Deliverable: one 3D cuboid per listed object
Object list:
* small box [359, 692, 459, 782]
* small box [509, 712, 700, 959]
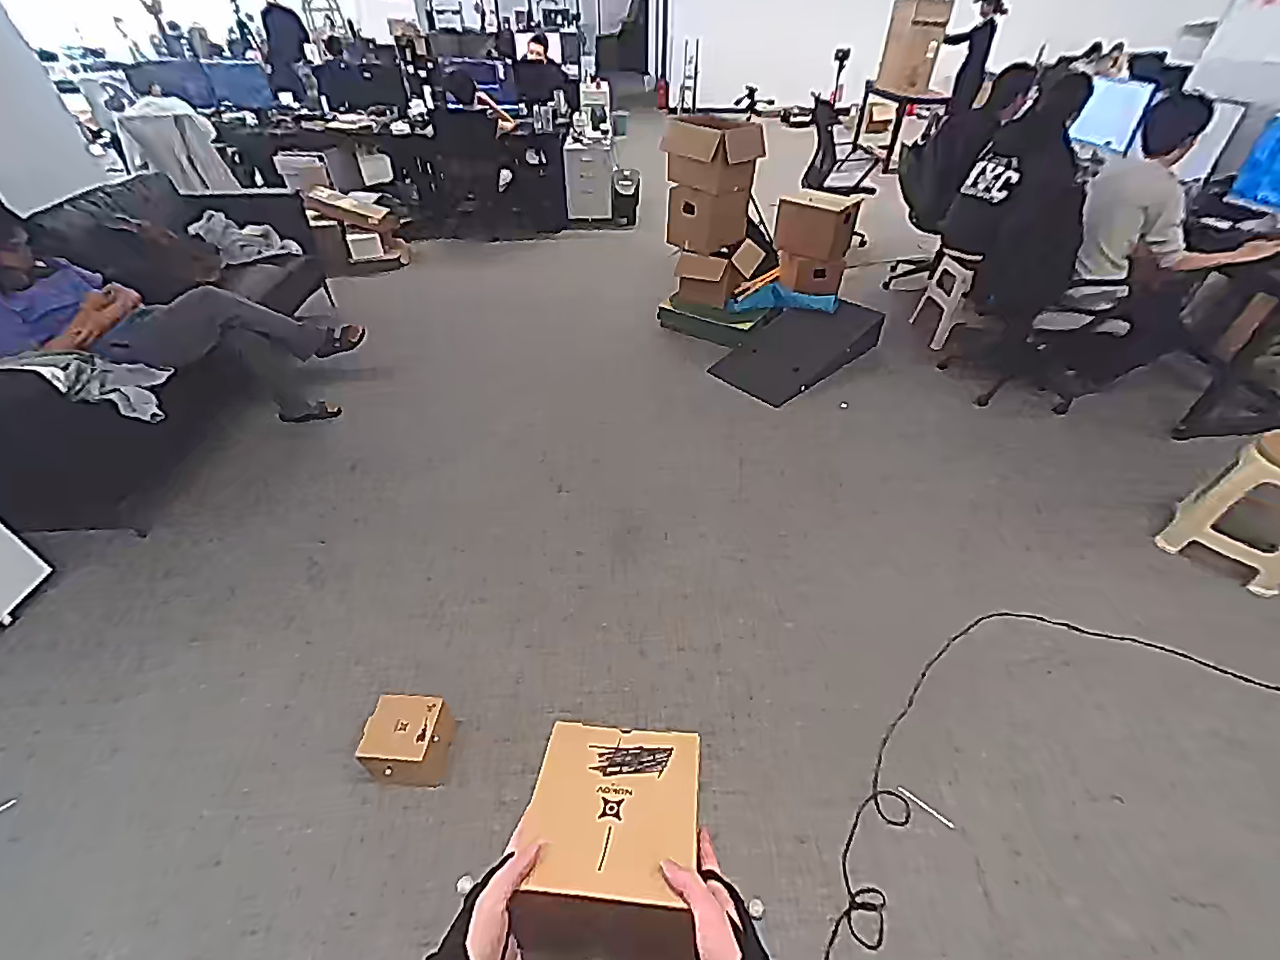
[{"bbox_3d":[-0.614,0.695,1.459,0.179,0.176,0.168,2,40,4],"label":"small box"},{"bbox_3d":[-0.024,0.381,0.571,0.168,0.176,0.179,1,25,7],"label":"small box"}]
